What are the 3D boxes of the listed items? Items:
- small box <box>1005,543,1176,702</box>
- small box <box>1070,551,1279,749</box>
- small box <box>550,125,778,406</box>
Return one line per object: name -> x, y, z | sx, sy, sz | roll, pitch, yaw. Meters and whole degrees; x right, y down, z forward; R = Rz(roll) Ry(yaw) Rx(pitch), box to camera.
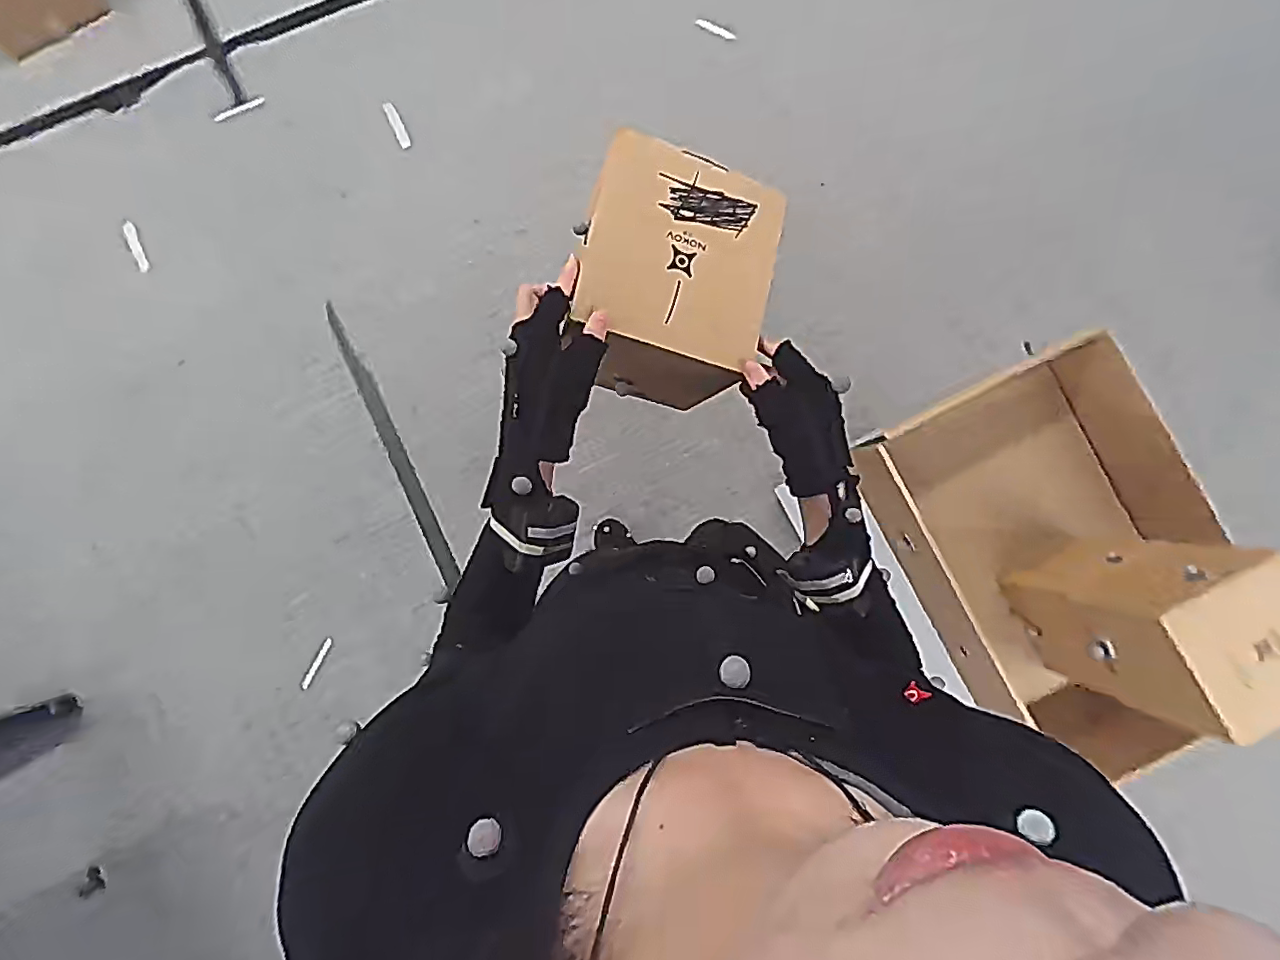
small box -> 0.734, 0.211, 0.851 | 0.168, 0.176, 0.179 | -27, 85, 0
small box -> 0.718, 0.198, 0.689 | 0.179, 0.176, 0.168 | -27, 83, 1
small box -> 0.012, -0.189, 0.534 | 0.168, 0.176, 0.179 | 13, 83, -13
